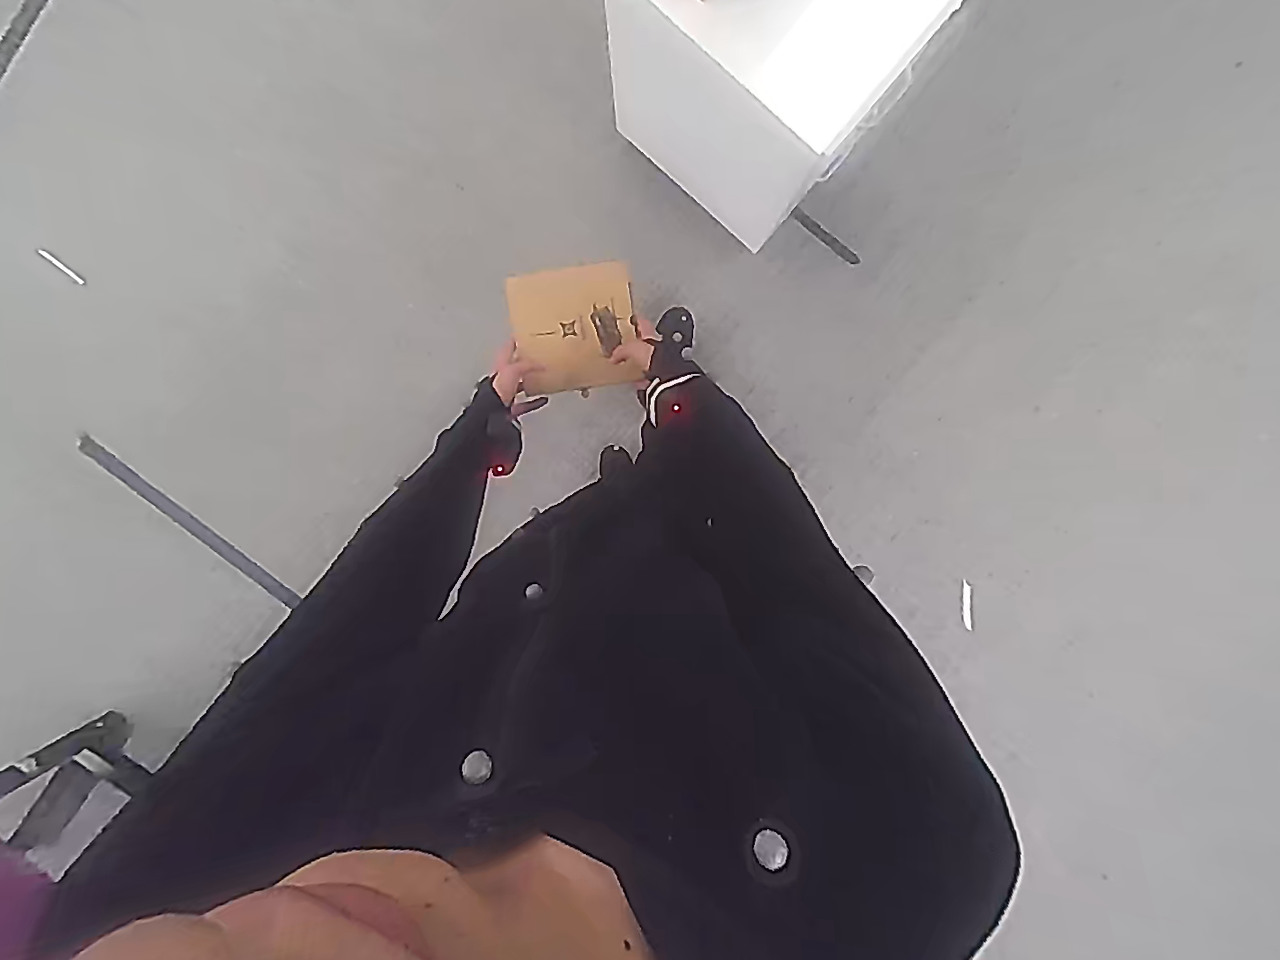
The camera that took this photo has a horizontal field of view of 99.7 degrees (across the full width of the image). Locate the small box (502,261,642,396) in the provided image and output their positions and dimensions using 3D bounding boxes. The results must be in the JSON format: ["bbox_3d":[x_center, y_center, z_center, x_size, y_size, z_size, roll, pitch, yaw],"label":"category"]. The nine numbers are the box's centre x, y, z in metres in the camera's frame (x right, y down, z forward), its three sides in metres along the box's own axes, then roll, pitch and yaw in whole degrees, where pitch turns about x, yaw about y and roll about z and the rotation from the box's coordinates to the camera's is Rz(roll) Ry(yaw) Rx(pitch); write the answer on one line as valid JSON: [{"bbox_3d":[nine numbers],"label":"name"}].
[{"bbox_3d":[-0.095,-0.226,0.836,0.179,0.176,0.168,-8,100,3],"label":"small box"}]
